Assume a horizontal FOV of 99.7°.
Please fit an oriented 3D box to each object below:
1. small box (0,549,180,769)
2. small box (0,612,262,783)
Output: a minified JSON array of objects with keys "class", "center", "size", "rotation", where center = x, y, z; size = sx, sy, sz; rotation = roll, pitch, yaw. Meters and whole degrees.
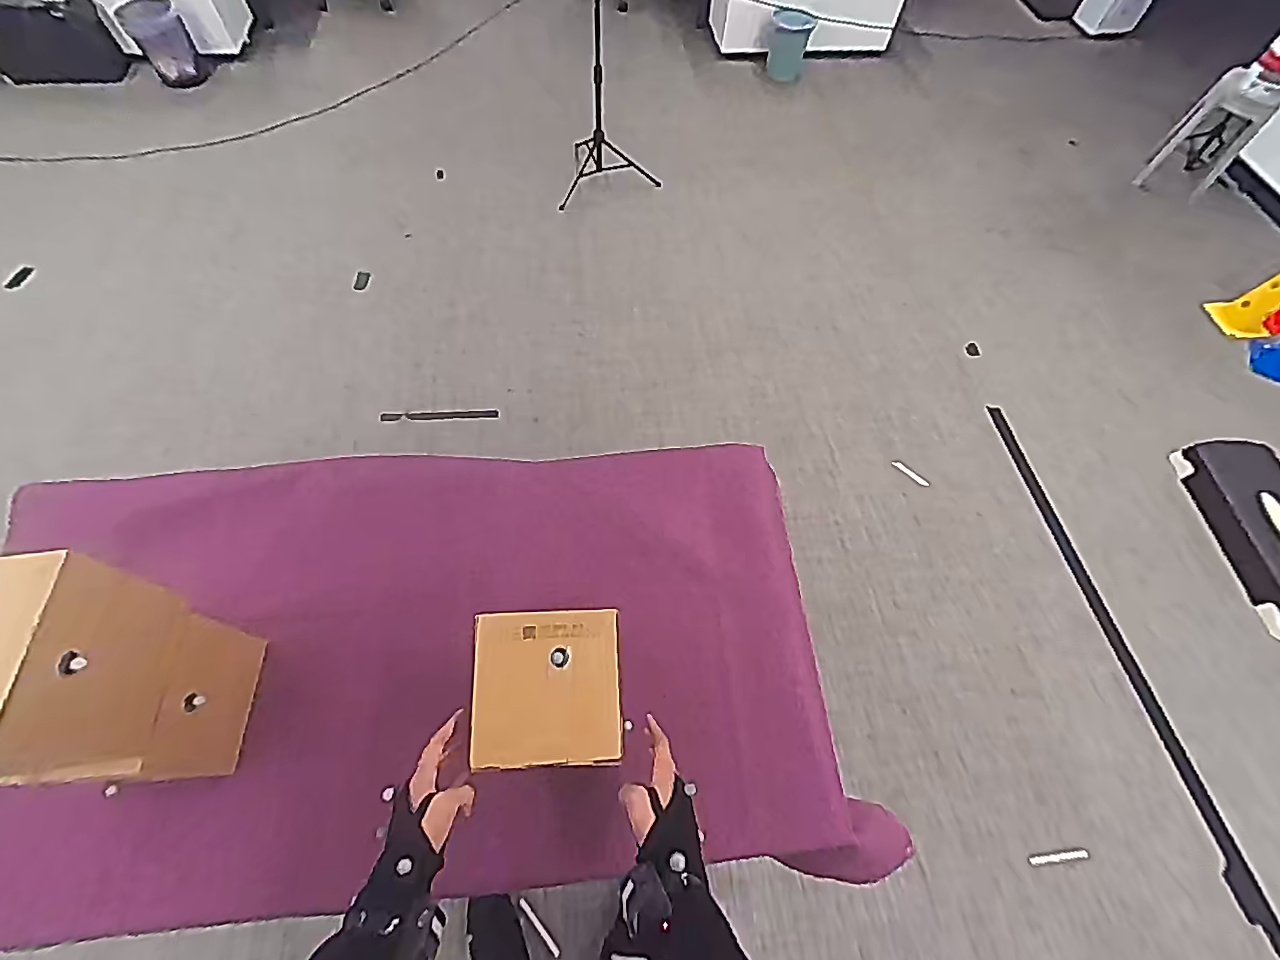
[{"class":"small box","center":[-0.616,0.186,0.540],"size":[0.168,0.176,0.179],"rotation":[-5,61,-6]},{"class":"small box","center":[-0.619,0.275,0.678],"size":[0.168,0.176,0.179],"rotation":[-1,61,-5]}]
